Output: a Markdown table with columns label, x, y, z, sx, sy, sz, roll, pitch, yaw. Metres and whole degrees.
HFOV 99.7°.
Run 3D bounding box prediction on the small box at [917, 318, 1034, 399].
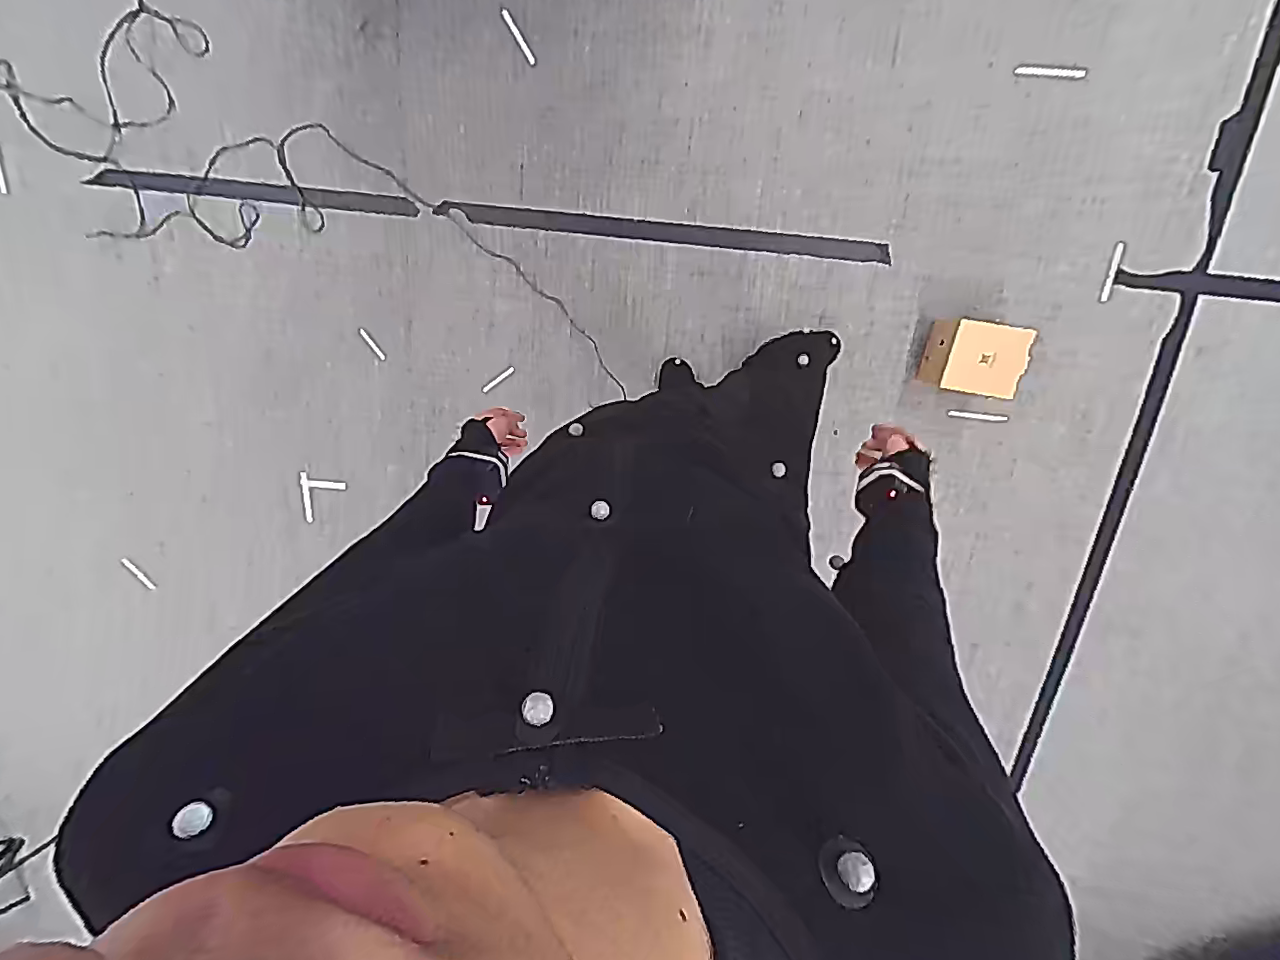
| label | x | y | z | sx | sy | sz | roll | pitch | yaw |
| --- | --- | --- | --- | --- | --- | --- | --- | --- | --- |
| small box | 0.833 | -0.309 | 1.365 | 0.179 | 0.176 | 0.168 | 10 | 107 | 4 |
